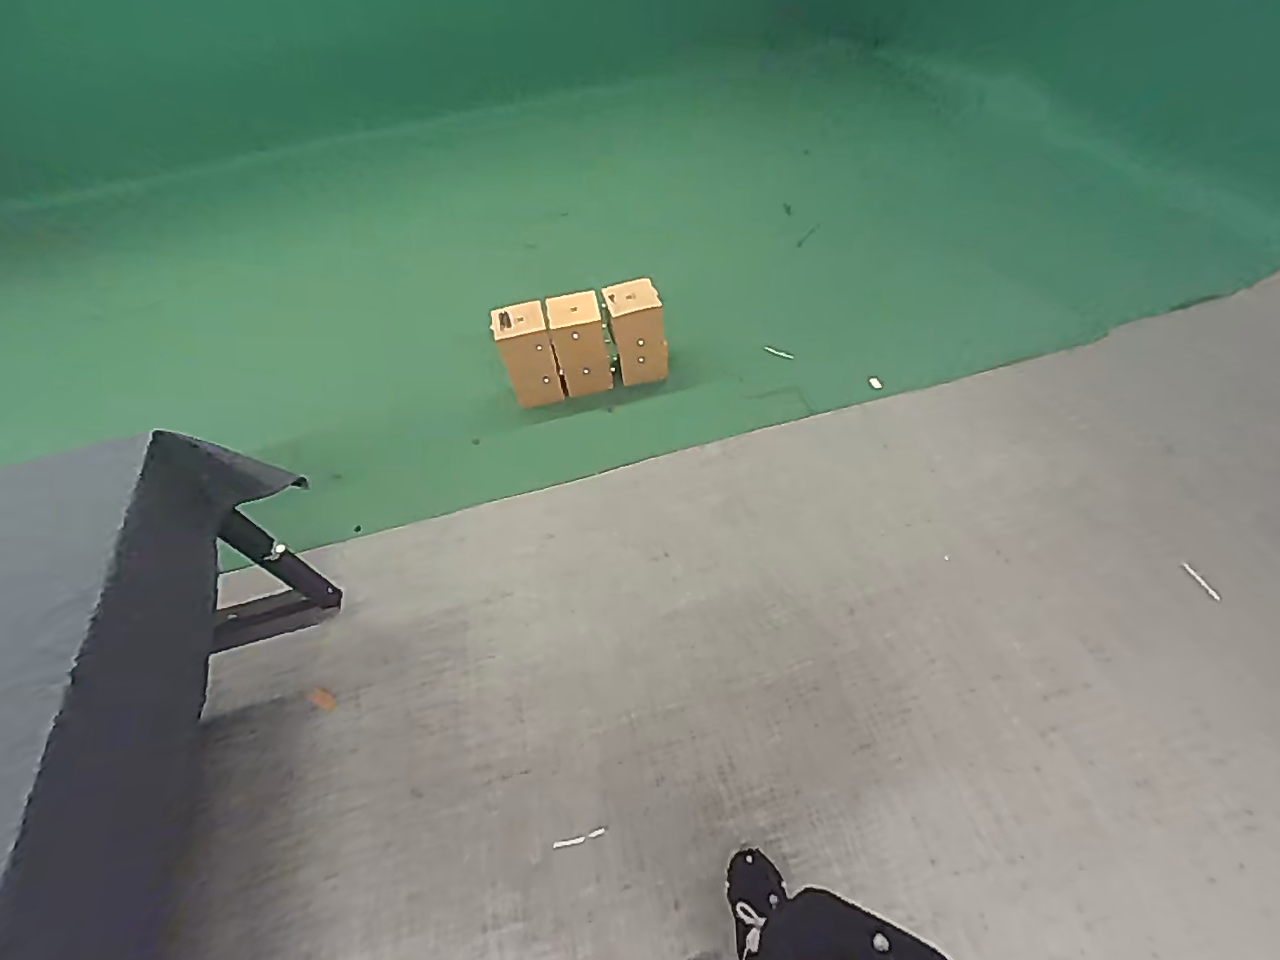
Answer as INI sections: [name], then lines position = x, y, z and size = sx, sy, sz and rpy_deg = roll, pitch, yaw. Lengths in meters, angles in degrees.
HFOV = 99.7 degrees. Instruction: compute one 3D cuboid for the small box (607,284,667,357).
[small box]
position = -0.010, -0.564, 1.917
size = 0.179, 0.176, 0.168
rpy_deg = -14, 54, -6
